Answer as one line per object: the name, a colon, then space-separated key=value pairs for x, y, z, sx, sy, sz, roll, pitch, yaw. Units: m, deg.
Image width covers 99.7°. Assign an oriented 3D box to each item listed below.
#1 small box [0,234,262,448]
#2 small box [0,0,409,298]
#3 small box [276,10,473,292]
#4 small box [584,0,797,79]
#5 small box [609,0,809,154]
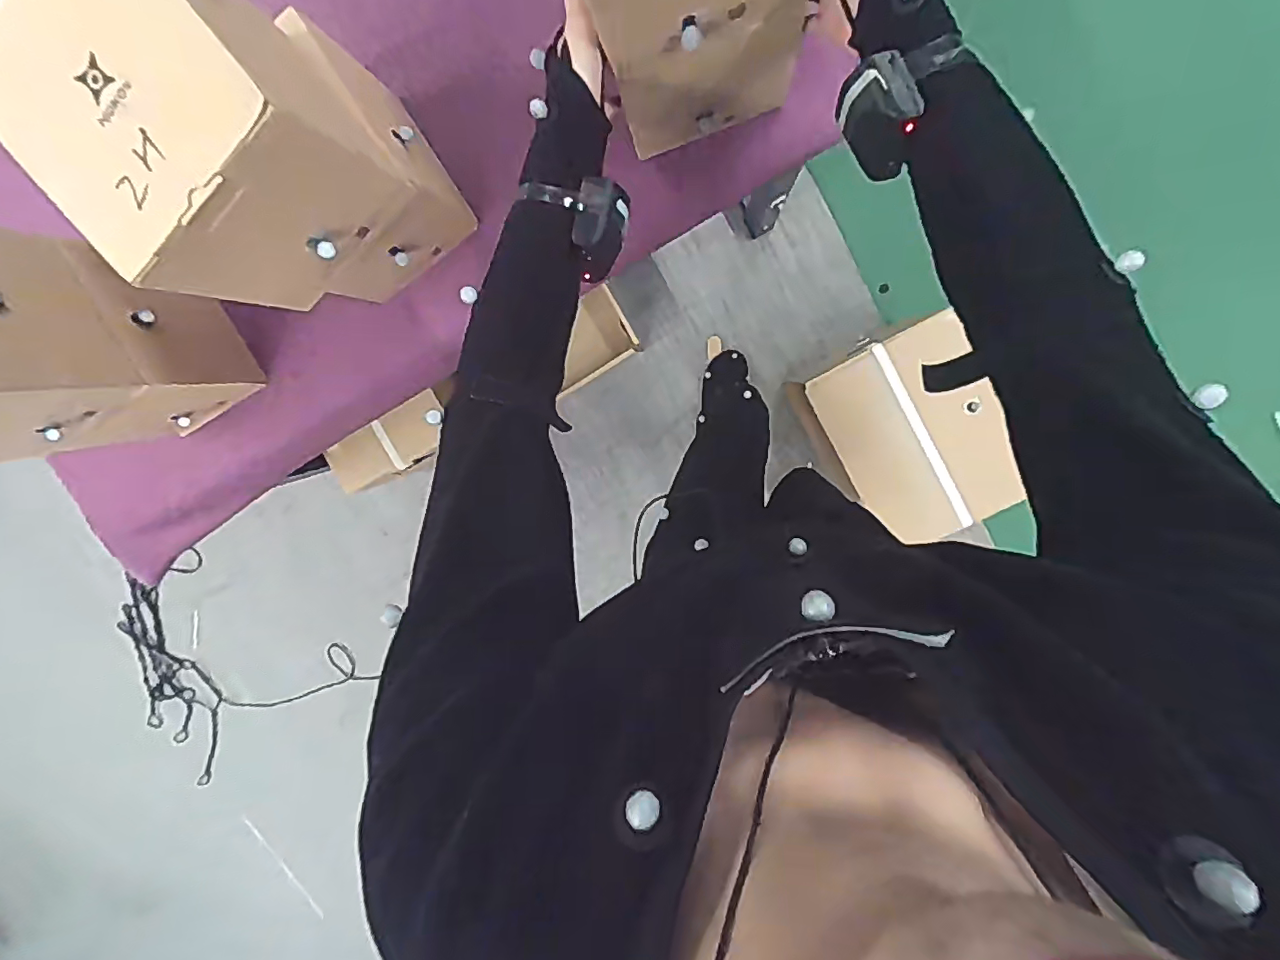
small box: x=-0.621 y=-0.158 z=0.653 sx=0.168 sy=0.176 sz=0.179 roll=-27 pitch=97 yaw=11
small box: x=-0.329 y=-0.268 z=0.423 sx=0.168 sy=0.176 sz=0.179 roll=-38 pitch=94 yaw=13
small box: x=-0.314 y=-0.321 z=0.581 sx=0.168 sy=0.176 sz=0.179 roll=-32 pitch=96 yaw=12
small box: x=0.018 y=-0.418 z=0.347 sx=0.168 sy=0.176 sz=0.179 roll=-17 pitch=98 yaw=11
small box: x=0.043 y=-0.449 z=0.504 sx=0.168 sy=0.176 sz=0.179 roll=-15 pitch=99 yaw=11
